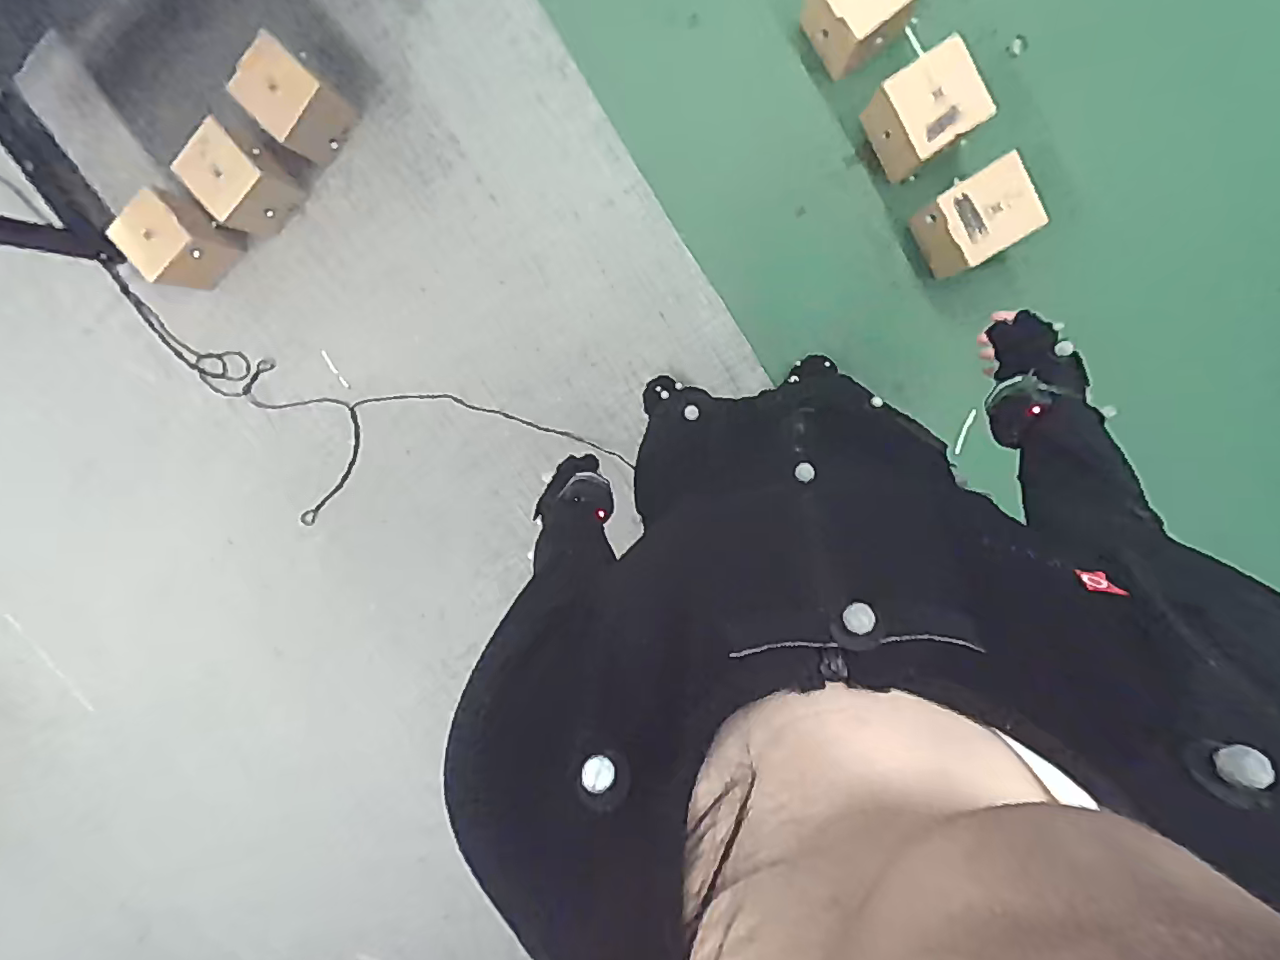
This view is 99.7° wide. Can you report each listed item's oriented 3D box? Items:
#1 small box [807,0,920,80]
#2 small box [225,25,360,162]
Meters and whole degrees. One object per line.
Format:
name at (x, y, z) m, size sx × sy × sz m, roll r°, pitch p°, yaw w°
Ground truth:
small box at (0.472, -1.009, 1.146) m, size 0.179 × 0.176 × 0.168 m, roll -33°, pitch 97°, yaw 13°
small box at (-0.828, -0.916, 1.303) m, size 0.179 × 0.176 × 0.168 m, roll 45°, pitch 103°, yaw -4°
